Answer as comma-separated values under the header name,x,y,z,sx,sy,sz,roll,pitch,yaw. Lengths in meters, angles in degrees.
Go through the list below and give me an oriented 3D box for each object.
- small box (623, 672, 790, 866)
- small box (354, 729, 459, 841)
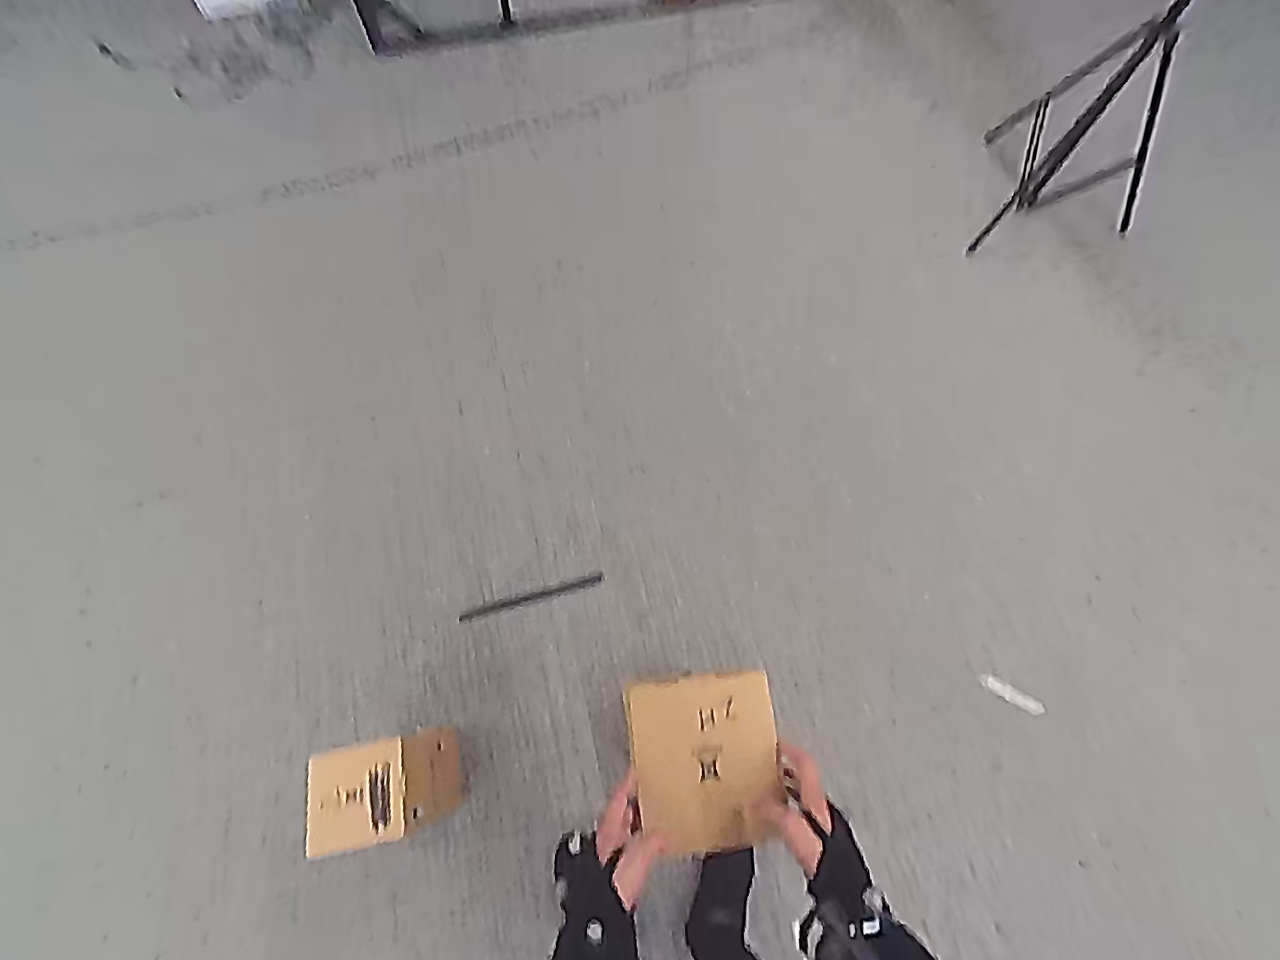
name,x,y,z,sx,sy,sz,roll,pitch,yaw
small box,0.068,0.340,0.671,0.168,0.176,0.179,-5,72,-6
small box,-0.513,0.668,1.203,0.168,0.176,0.179,-12,67,-5
